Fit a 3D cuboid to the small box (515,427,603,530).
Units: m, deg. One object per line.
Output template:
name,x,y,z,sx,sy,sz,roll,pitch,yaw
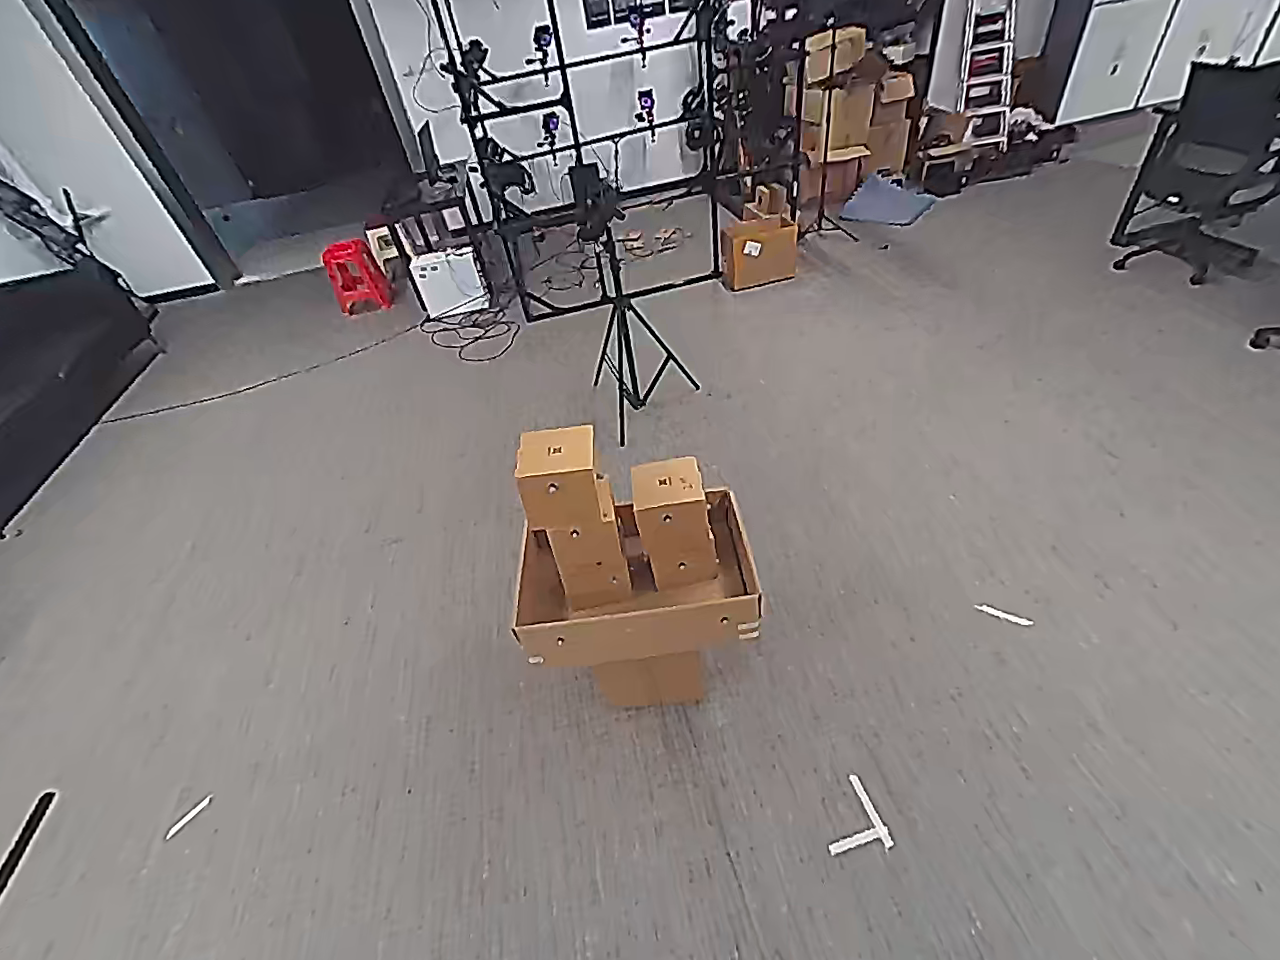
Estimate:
small box,-0.182,-0.001,1.275,0.179,0.176,0.168,-8,41,1
